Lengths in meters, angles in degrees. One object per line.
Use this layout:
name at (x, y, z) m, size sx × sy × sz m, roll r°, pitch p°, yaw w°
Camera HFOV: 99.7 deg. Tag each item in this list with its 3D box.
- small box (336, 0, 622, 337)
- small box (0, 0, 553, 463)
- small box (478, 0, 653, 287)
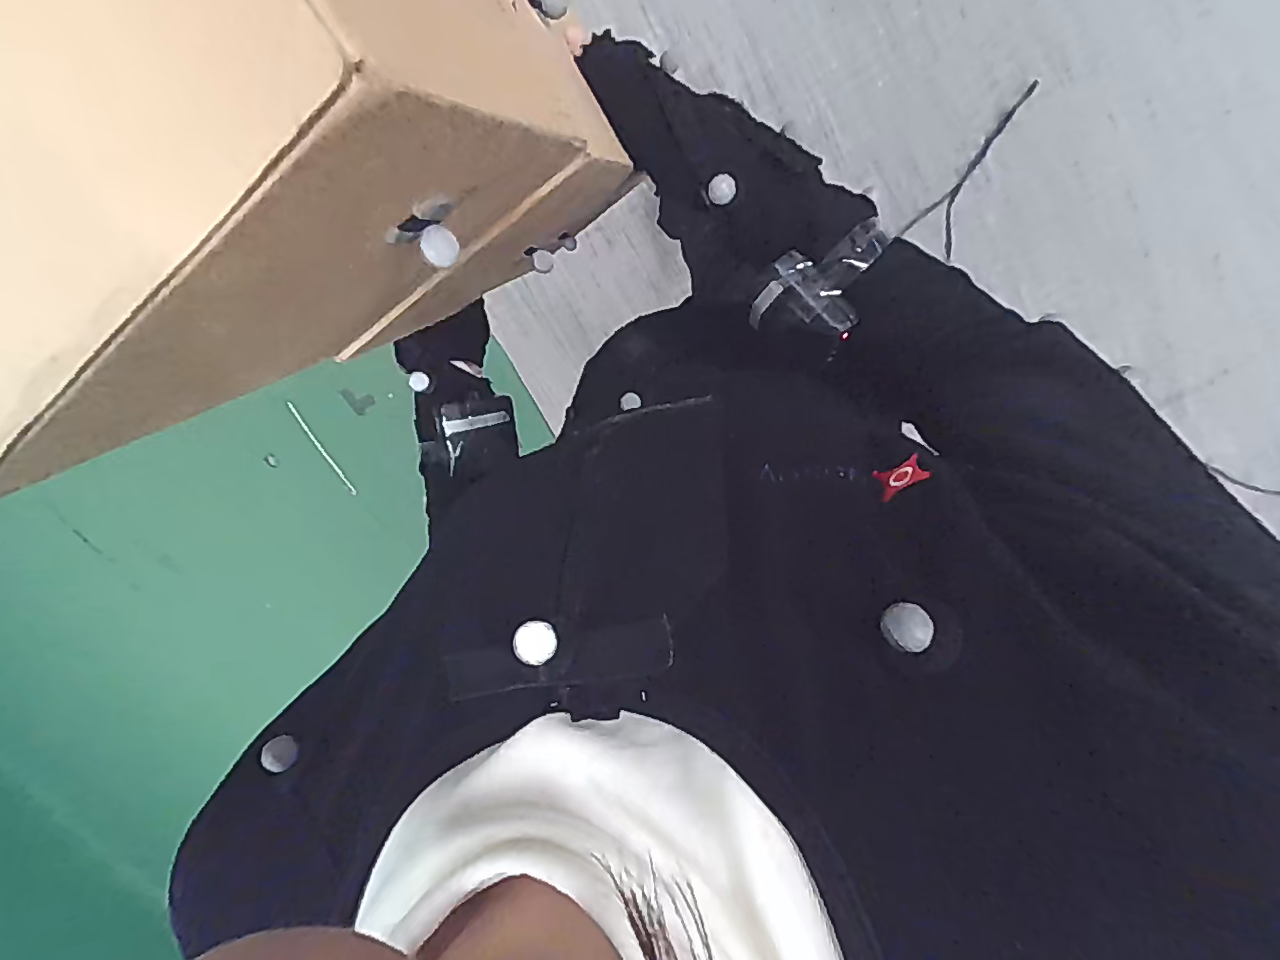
small box at (-0.124, -0.212, 0.308) m, size 0.179 × 0.176 × 0.168 m, roll -28°, pitch 109°, yaw 21°
small box at (-0.146, -0.140, 0.165) m, size 0.179 × 0.176 × 0.168 m, roll -29°, pitch 109°, yaw 22°
small box at (-0.102, -0.294, 0.449) m, size 0.179 × 0.176 × 0.168 m, roll -33°, pitch 109°, yaw 23°
